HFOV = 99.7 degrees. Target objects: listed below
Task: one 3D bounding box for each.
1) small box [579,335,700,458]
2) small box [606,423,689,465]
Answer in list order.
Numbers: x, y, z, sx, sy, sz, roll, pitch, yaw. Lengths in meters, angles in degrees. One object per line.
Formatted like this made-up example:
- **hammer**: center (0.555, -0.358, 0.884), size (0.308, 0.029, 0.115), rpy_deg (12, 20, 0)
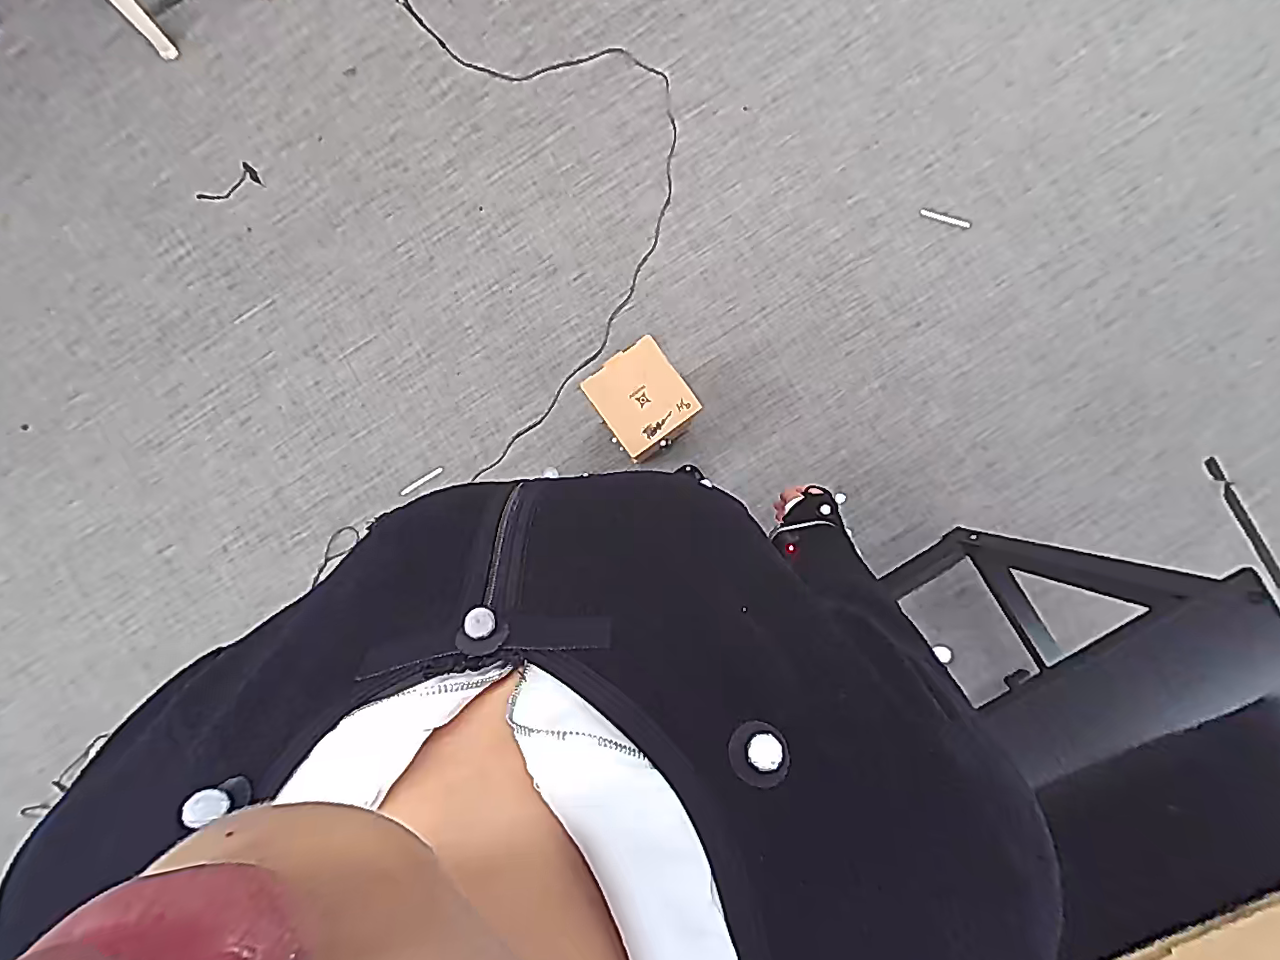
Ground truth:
- **small box**: center (0.000, -0.157, 1.094), size (0.168, 0.176, 0.179), rpy_deg (-36, 90, 2)
- **small box**: center (0.009, -0.155, 1.420), size (0.179, 0.176, 0.168), rpy_deg (-35, 89, 3)
